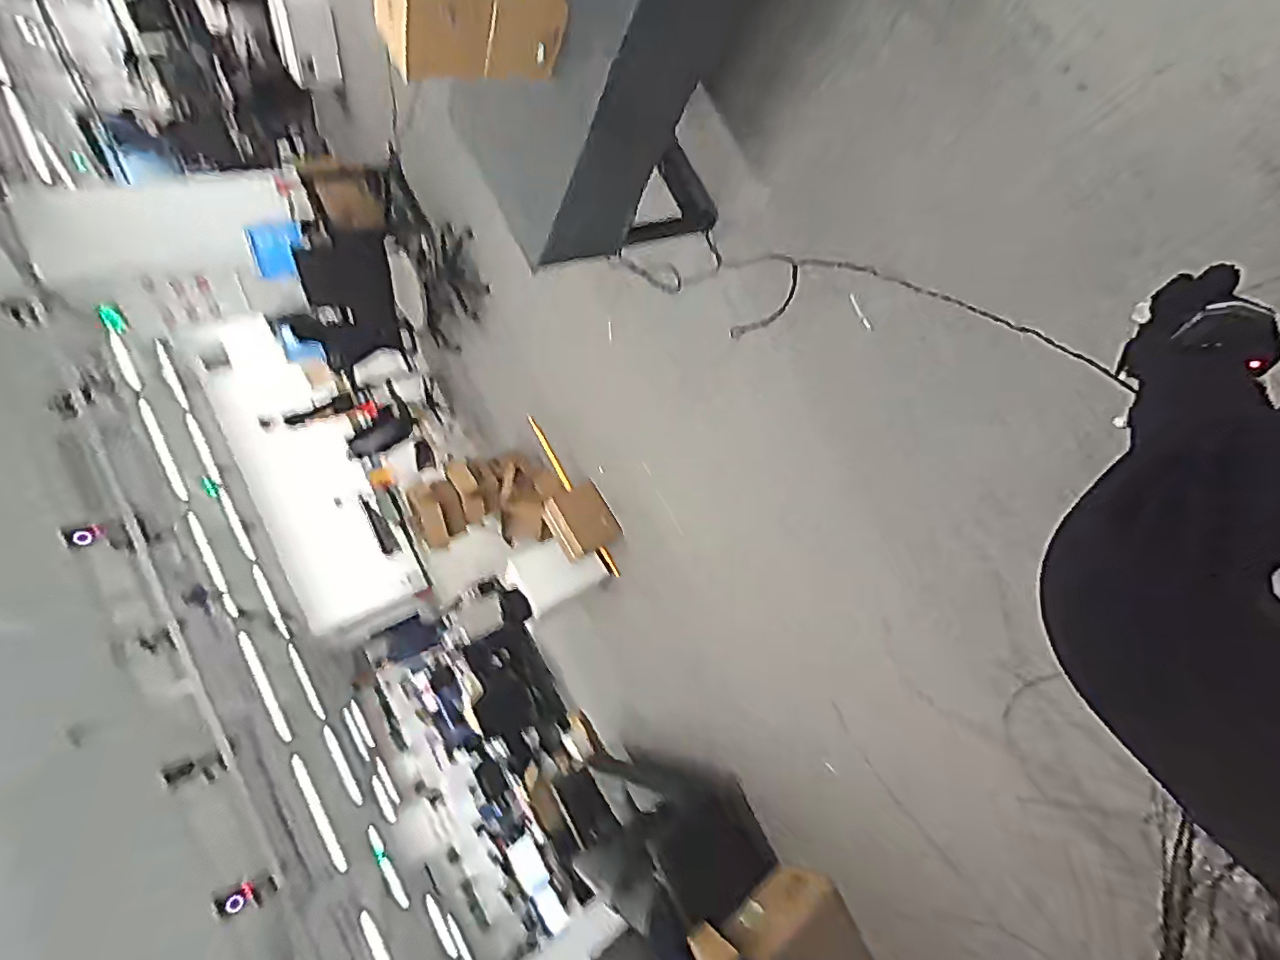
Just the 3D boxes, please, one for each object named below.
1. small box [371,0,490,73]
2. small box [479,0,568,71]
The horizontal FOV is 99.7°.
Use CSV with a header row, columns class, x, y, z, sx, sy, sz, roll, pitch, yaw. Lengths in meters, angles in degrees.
class,x,y,z,sx,sy,sz,roll,pitch,yaw
small box,-0.411,-0.947,1.063,0.168,0.176,0.179,63,150,7
small box,-0.279,-1.002,1.141,0.179,0.176,0.168,63,150,4
